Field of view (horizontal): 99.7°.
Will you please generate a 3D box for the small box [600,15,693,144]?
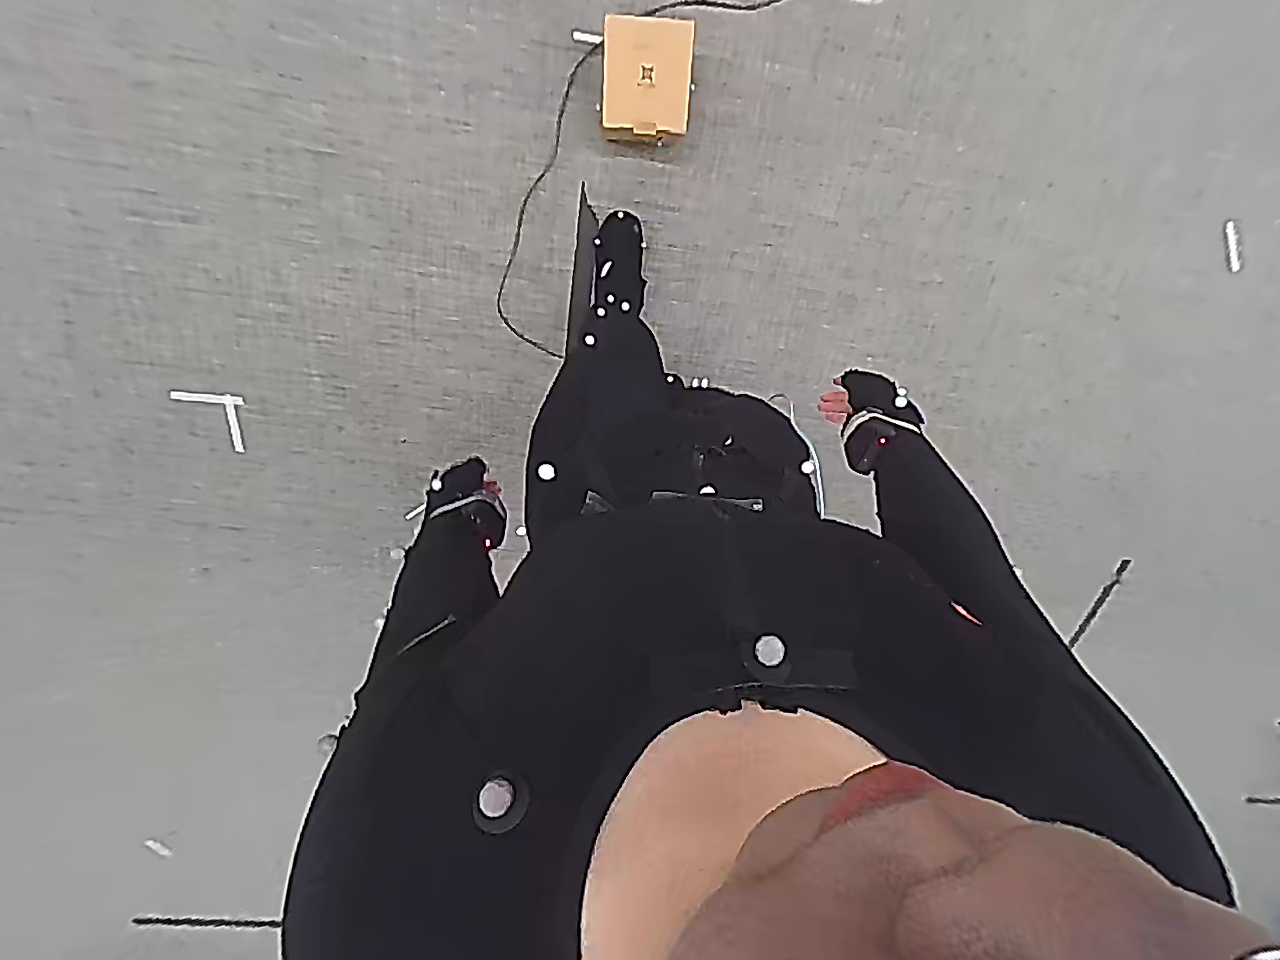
[{"bbox_3d":[0.007,-0.788,1.083,0.168,0.176,0.179,1,115,-5],"label":"small box"}]
